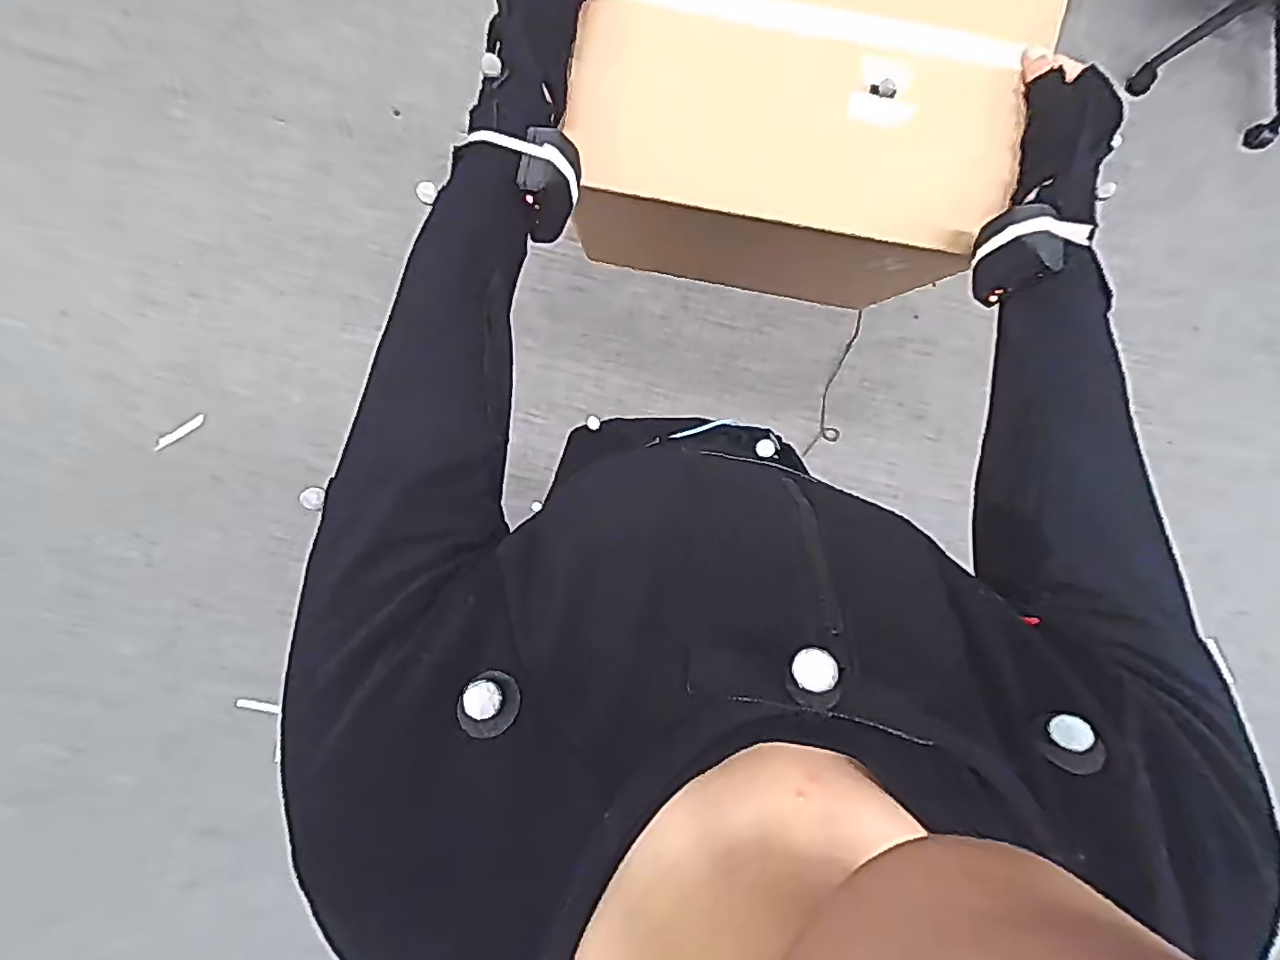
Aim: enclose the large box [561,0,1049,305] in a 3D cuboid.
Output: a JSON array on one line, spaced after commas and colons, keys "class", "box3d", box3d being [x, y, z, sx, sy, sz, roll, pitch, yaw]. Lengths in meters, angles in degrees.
[{"class": "large box", "box3d": [0.142, -0.408, 0.615, 0.408, 0.320, 0.320, 9, 100, -2]}]
